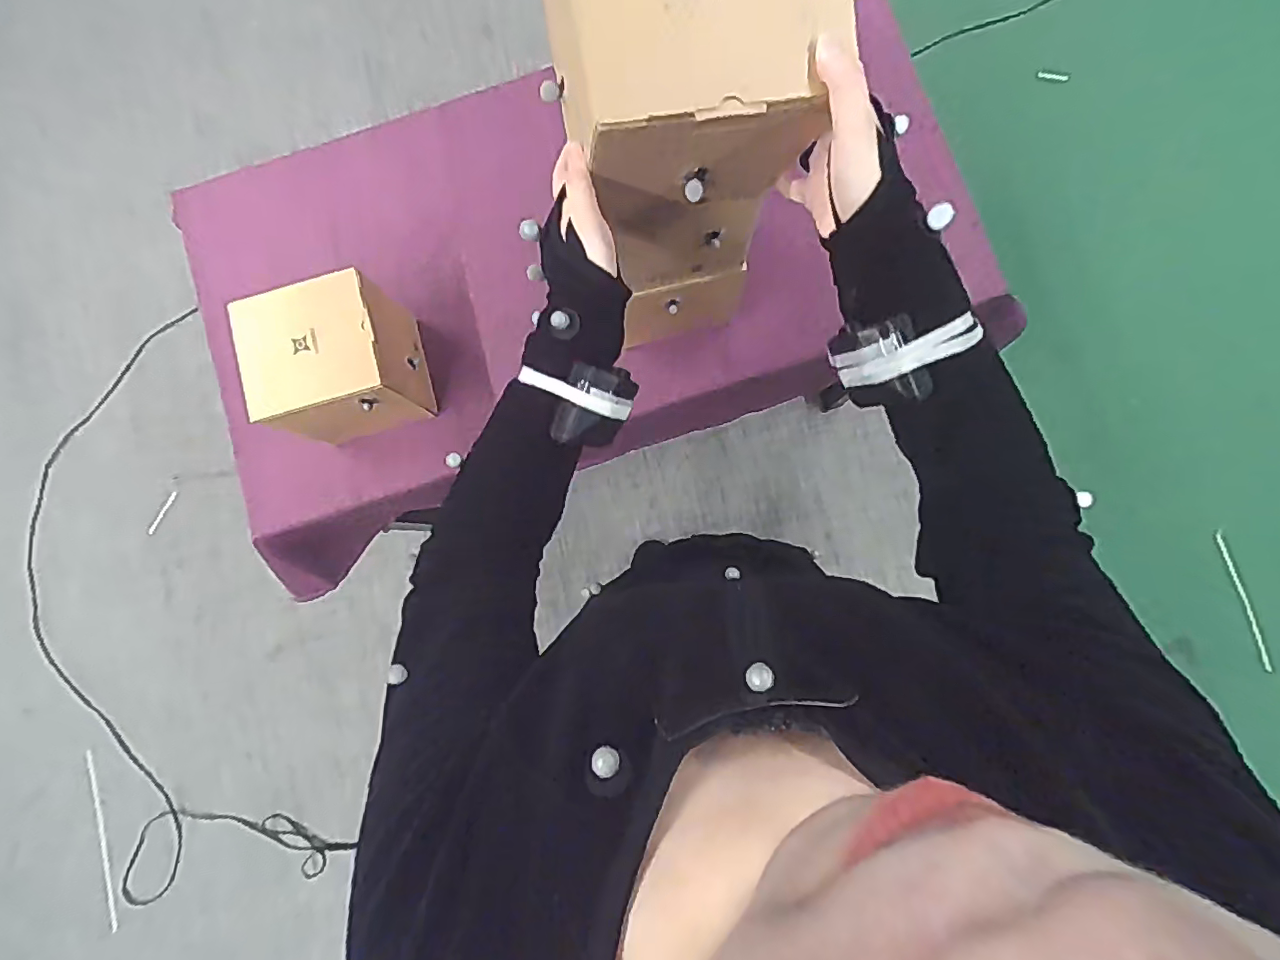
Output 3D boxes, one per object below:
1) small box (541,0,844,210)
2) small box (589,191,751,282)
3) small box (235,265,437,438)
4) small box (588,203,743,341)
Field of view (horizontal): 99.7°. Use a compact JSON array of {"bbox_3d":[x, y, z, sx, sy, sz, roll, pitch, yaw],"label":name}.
[{"bbox_3d":[0.021,-0.309,0.383,0.168,0.176,0.179,-11,99,-6],"label":"small box"},{"bbox_3d":[0.024,-0.340,0.599,0.168,0.176,0.179,-11,82,2],"label":"small box"},{"bbox_3d":[-0.421,-0.170,0.772,0.179,0.176,0.168,-16,83,1],"label":"small box"},{"bbox_3d":[0.035,-0.312,0.760,0.179,0.176,0.168,-12,83,2],"label":"small box"}]
